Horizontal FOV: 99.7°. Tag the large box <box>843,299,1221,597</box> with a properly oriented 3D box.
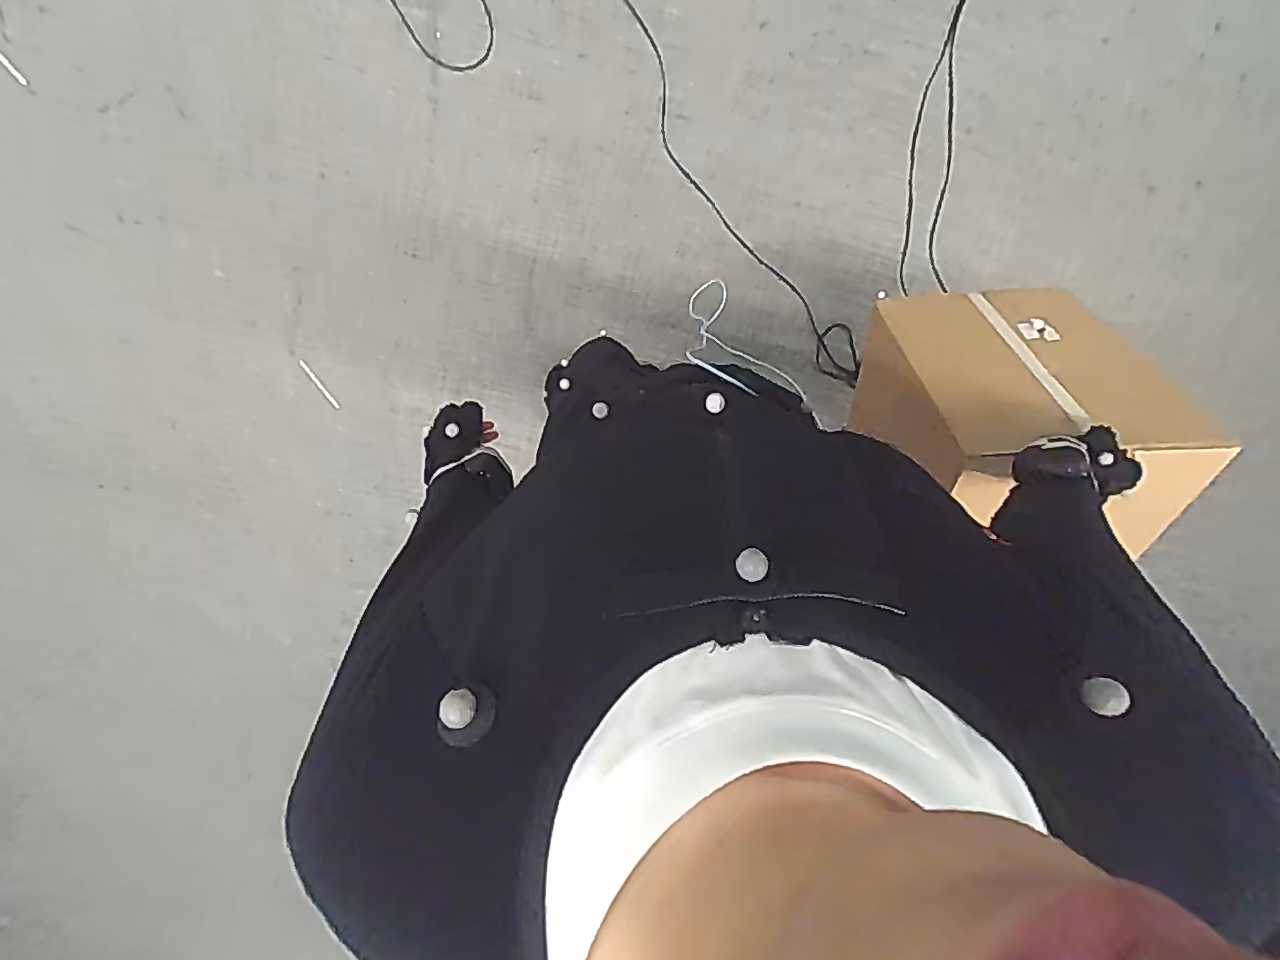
[{"bbox_3d":[0.565,-0.059,0.901,0.320,0.408,0.320,-1,134,4],"label":"large box"}]
